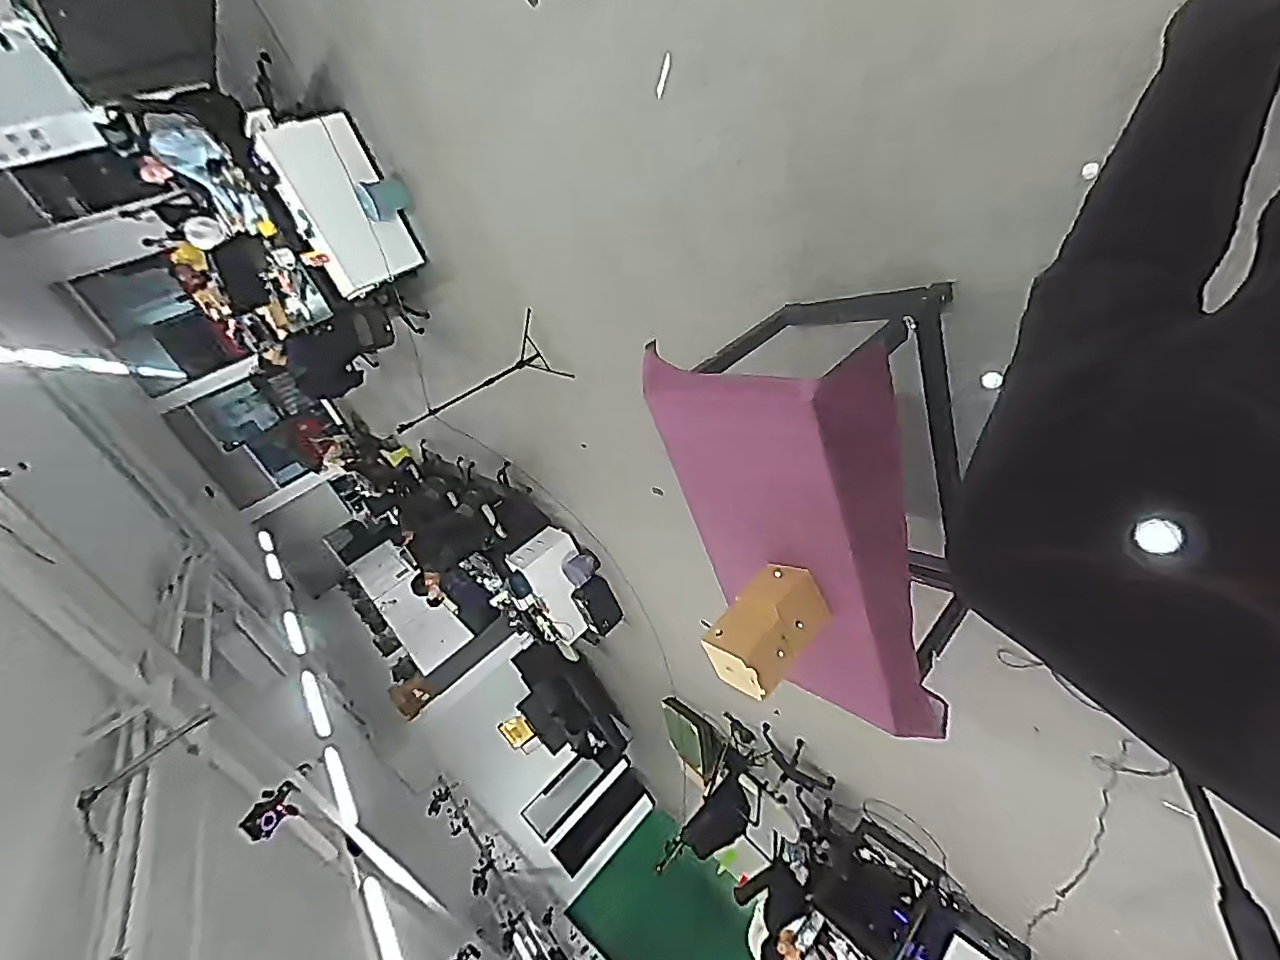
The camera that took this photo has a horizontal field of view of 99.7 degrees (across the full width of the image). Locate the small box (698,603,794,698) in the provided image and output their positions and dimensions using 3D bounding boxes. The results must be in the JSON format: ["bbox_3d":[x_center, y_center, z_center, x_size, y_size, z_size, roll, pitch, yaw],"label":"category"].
[{"bbox_3d":[0.304,0.475,1.537,0.179,0.176,0.168,7,130,54],"label":"small box"}]

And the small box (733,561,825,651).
[{"bbox_3d":[0.416,0.367,1.597,0.168,0.176,0.179,-1,122,57],"label":"small box"}]
